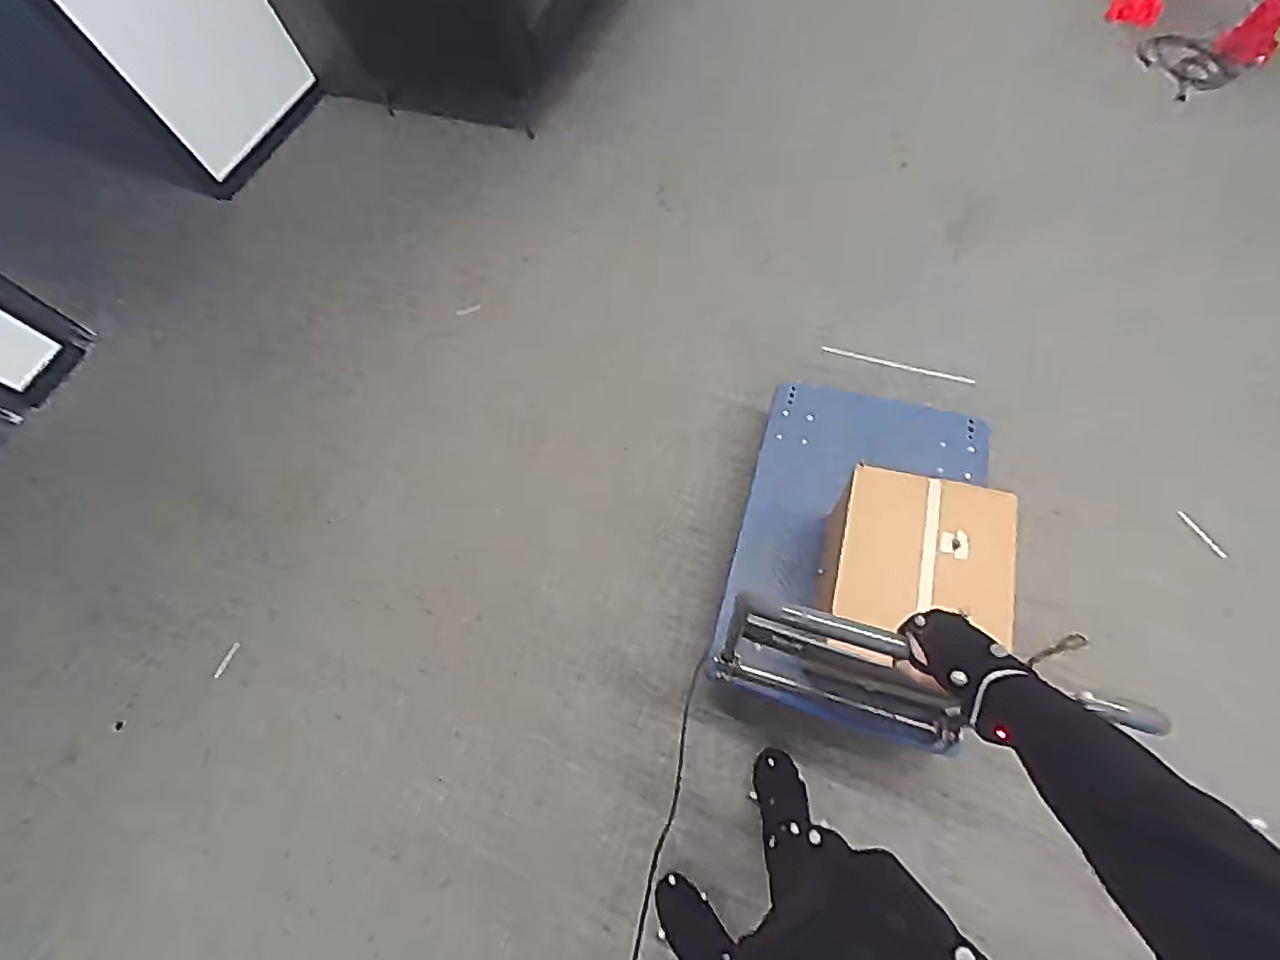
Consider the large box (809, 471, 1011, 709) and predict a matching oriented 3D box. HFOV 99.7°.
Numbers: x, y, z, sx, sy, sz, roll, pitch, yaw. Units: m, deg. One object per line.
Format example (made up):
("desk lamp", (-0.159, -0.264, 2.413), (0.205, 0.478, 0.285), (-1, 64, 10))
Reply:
("large box", (0.571, 0.248, 1.185), (0.320, 0.320, 0.408), (13, 67, 13))
